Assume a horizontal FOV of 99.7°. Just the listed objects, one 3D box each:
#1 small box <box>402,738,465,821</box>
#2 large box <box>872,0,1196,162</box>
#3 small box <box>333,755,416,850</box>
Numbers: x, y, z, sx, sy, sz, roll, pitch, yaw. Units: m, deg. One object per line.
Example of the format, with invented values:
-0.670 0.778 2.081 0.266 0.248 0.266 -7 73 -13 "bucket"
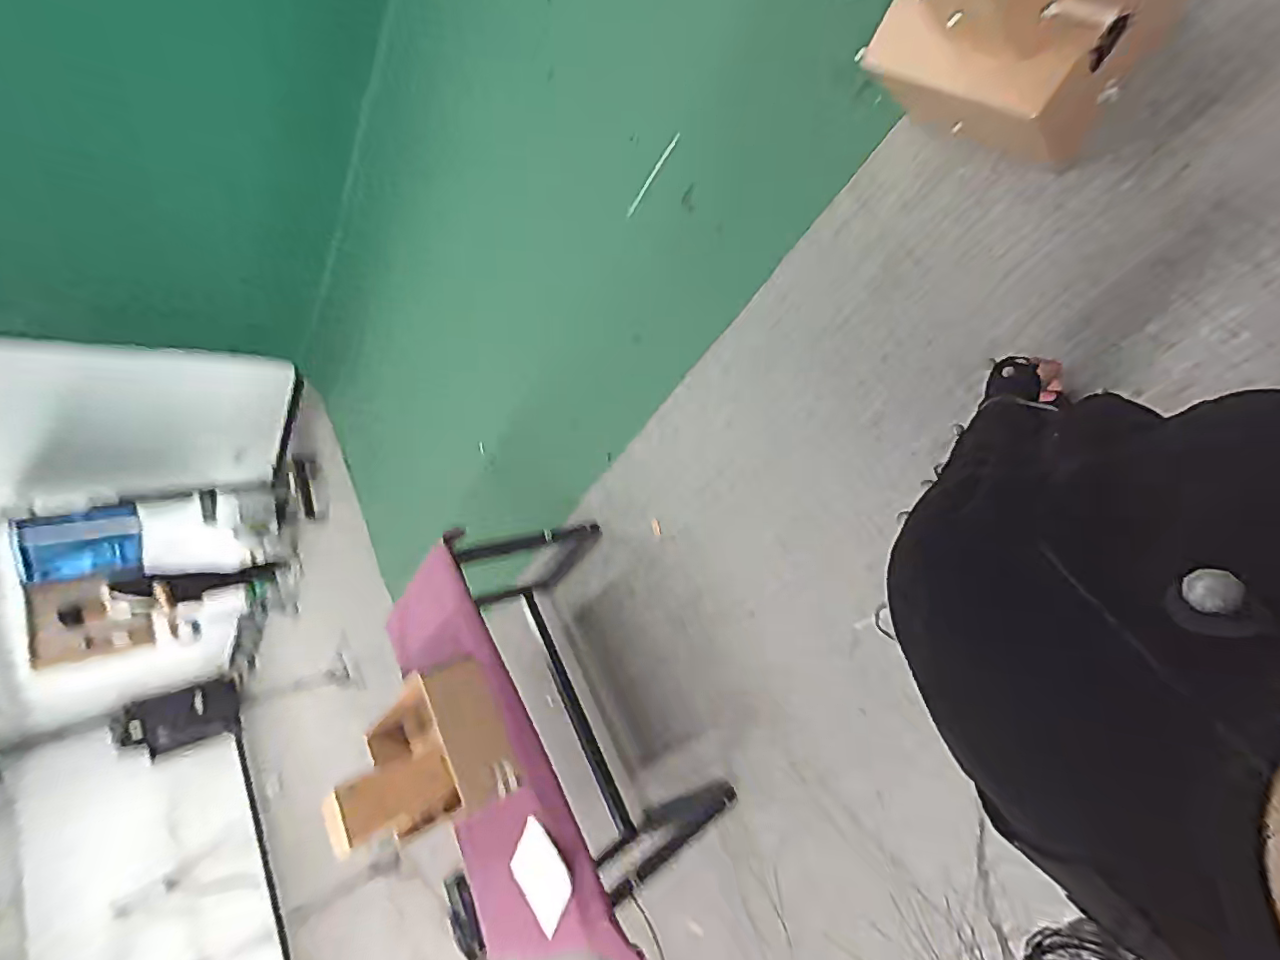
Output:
-0.691 0.968 1.757 0.179 0.176 0.168 -44 65 36 "small box"
0.781 -0.909 1.092 0.408 0.320 0.320 48 124 31 "large box"
-0.803 0.974 1.641 0.168 0.176 0.179 -47 63 35 "small box"
